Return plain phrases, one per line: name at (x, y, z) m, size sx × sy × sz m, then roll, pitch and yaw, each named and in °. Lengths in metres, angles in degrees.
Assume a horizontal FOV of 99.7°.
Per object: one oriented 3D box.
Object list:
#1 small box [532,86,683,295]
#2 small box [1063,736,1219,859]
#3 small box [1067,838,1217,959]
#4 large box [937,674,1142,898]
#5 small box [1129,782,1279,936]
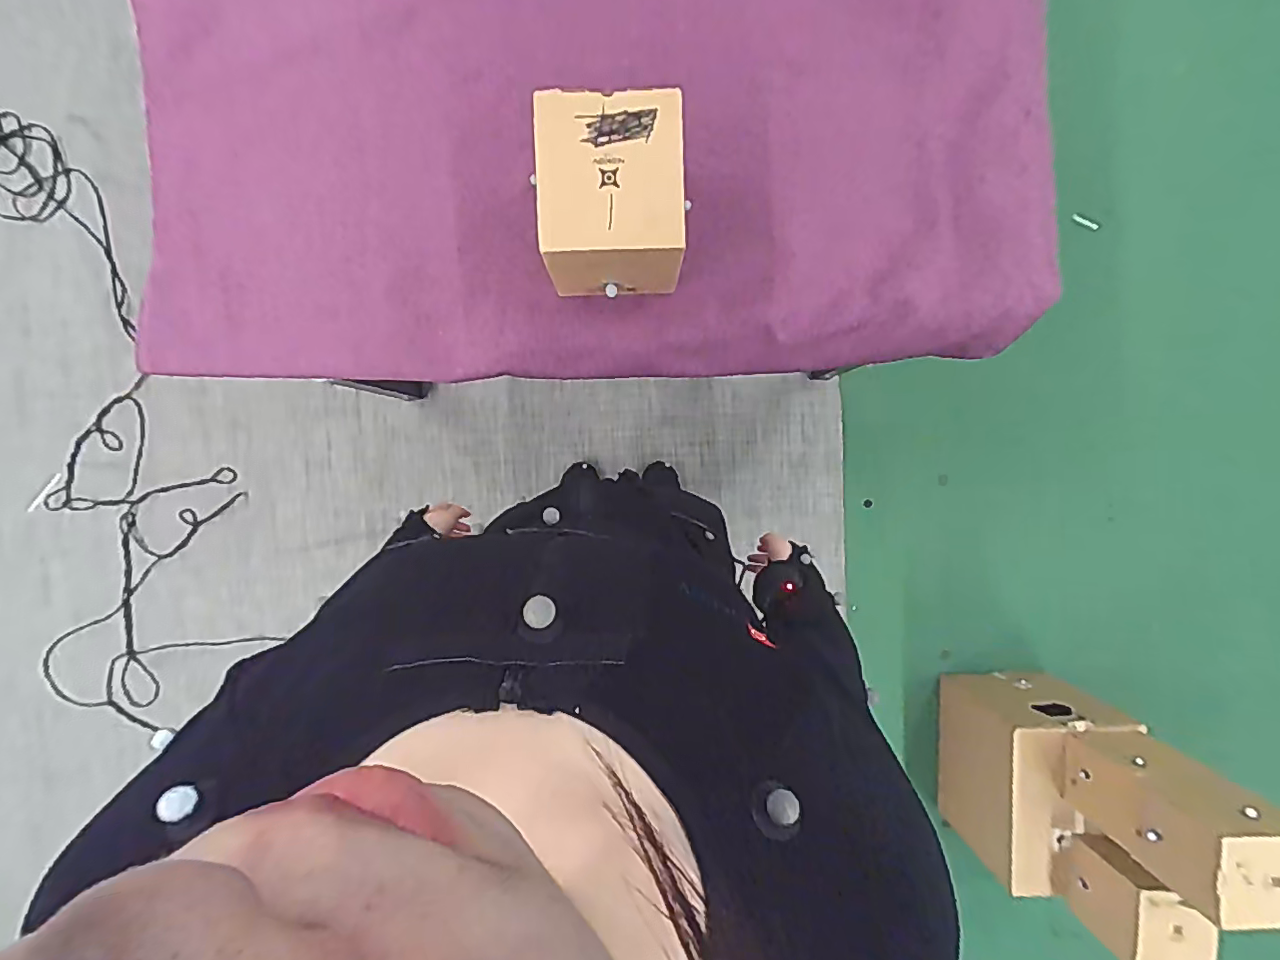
small box at (-0.037, -0.342, 0.667) m, size 0.168 × 0.176 × 0.179 m, roll -1°, pitch 93°, yaw 0°
small box at (1.050, 0.663, 1.144) m, size 0.179 × 0.176 × 0.168 m, roll -1°, pitch 93°, yaw -1°
small box at (1.060, 0.911, 1.153) m, size 0.168 × 0.176 × 0.179 m, roll 4°, pitch 92°, yaw -1°
large box at (0.999, 0.758, 1.391) m, size 0.320 × 0.320 × 0.408 m, roll -1°, pitch 94°, yaw 0°
small box at (1.049, 0.674, 0.980) m, size 0.179 × 0.176 × 0.168 m, roll -2°, pitch 93°, yaw 0°
